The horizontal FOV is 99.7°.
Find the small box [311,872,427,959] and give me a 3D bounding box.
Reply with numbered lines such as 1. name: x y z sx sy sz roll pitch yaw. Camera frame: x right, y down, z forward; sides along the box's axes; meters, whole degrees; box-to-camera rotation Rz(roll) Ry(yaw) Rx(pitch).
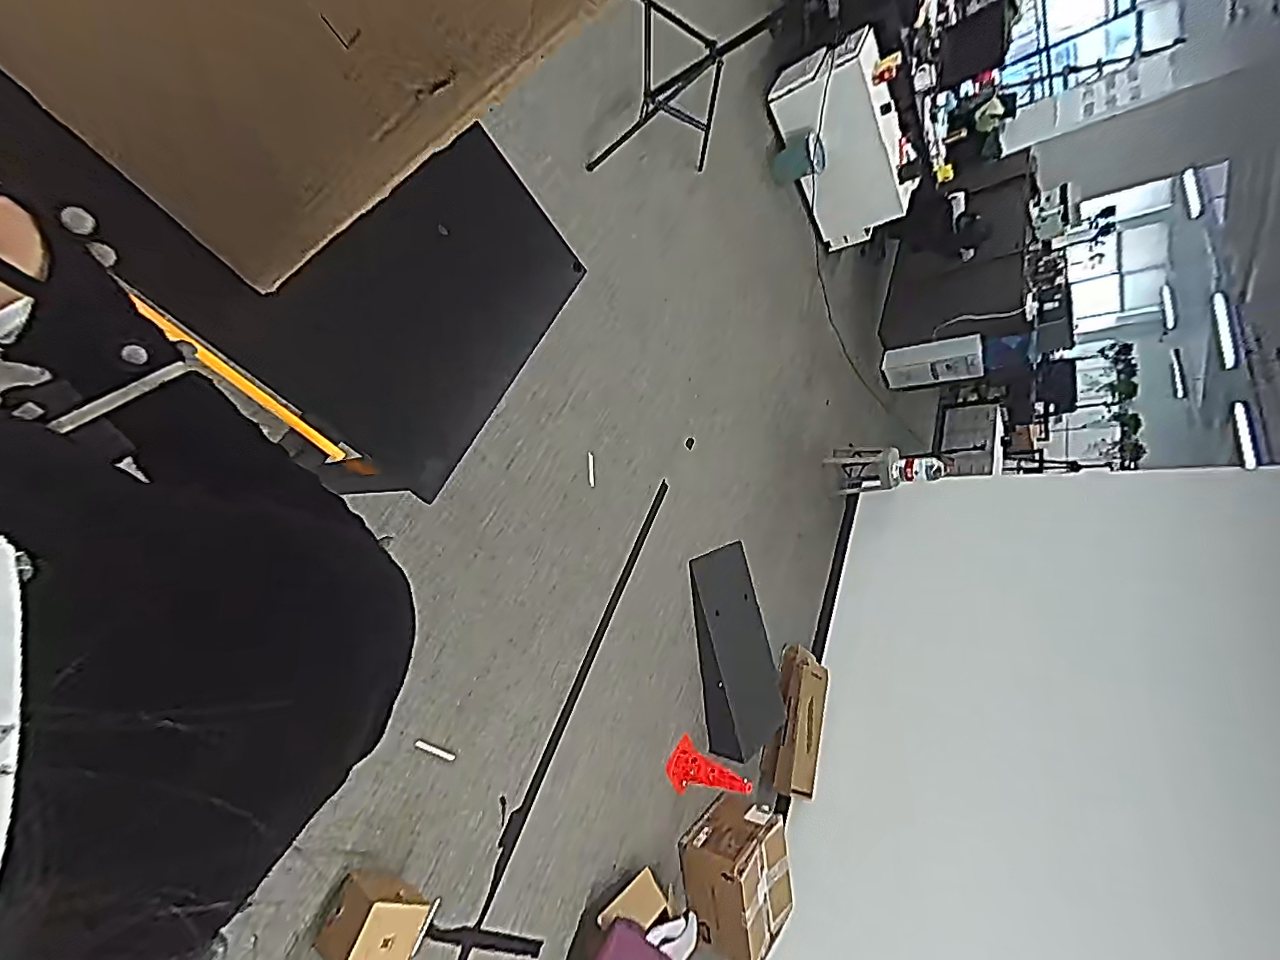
1. small box: -0.694 1.138 1.386 0.179 0.176 0.168 43 57 -38
